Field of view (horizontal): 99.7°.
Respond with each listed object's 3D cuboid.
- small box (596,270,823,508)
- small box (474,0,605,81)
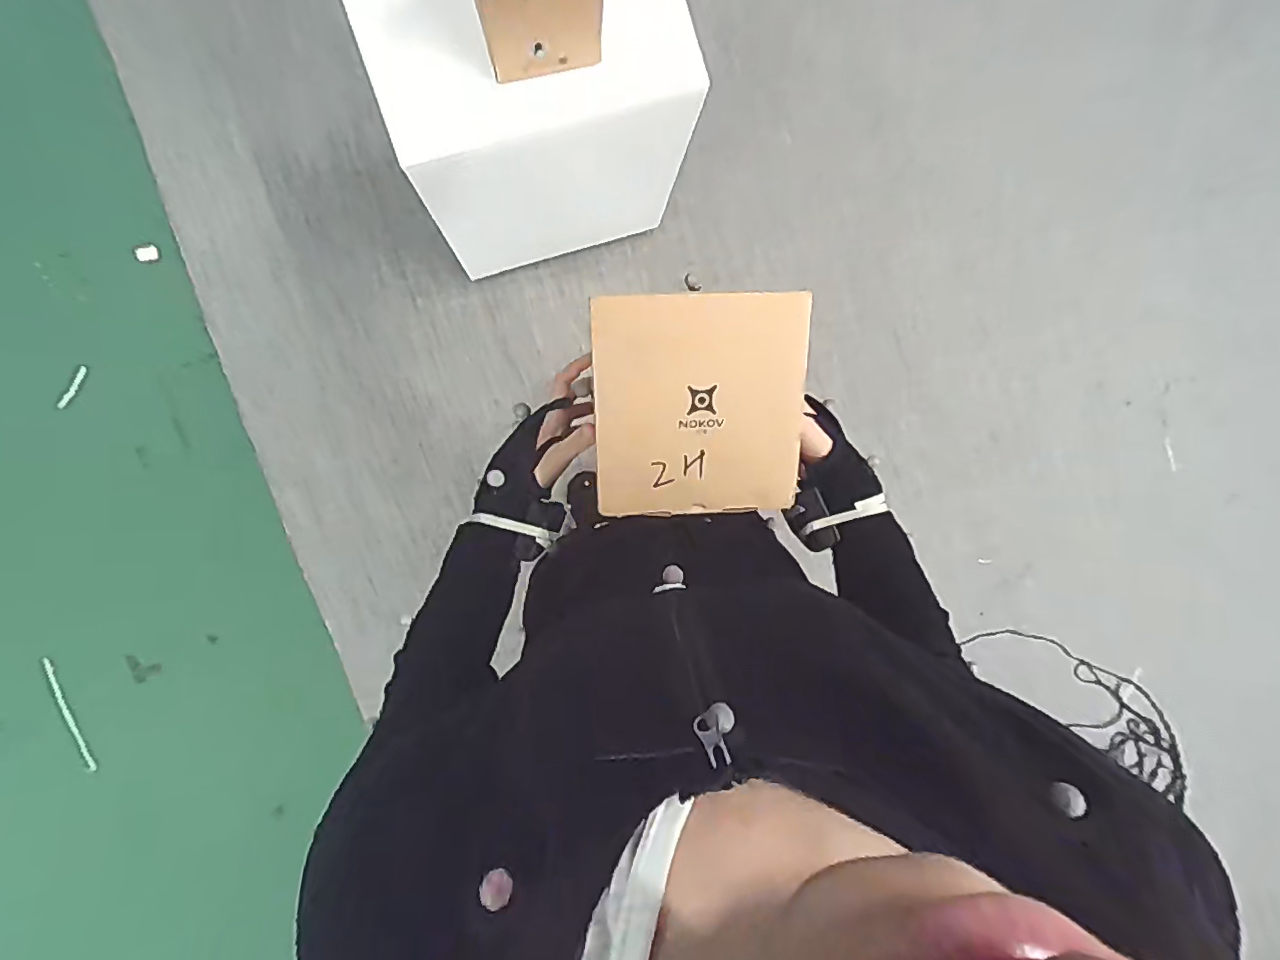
[{"bbox_3d":[0.046,-0.087,0.481,0.168,0.176,0.179,-2,108,-3],"label":"small box"},{"bbox_3d":[-0.151,-0.704,0.742,0.168,0.176,0.179,-16,94,-6],"label":"small box"}]
